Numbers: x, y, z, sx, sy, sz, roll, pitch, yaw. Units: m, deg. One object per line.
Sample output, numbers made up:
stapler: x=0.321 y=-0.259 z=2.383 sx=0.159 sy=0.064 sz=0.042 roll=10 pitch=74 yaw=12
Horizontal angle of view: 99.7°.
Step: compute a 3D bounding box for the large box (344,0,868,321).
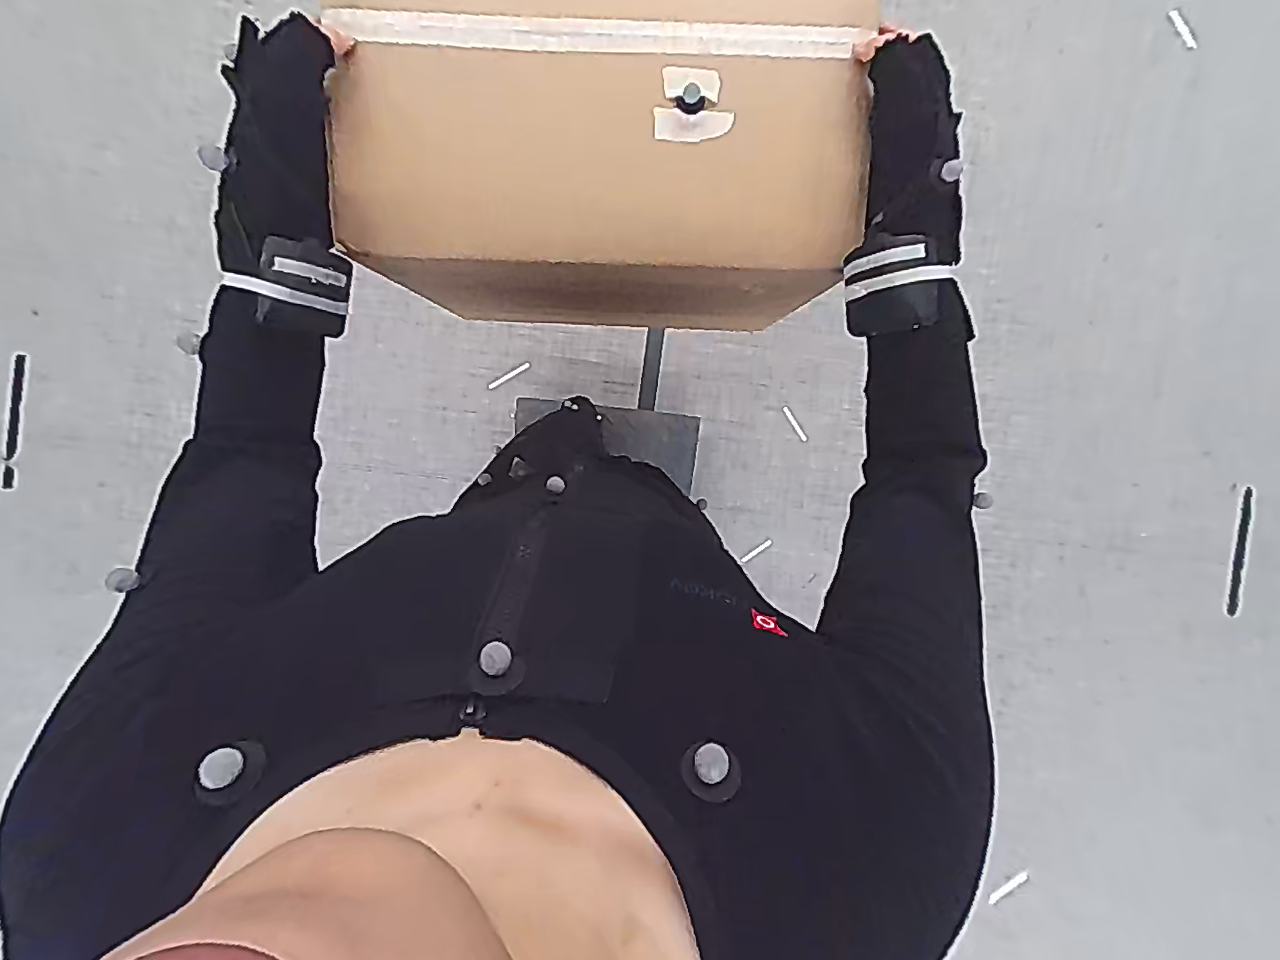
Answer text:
large box: x=-0.030 y=-0.350 z=0.559 sx=0.408 sy=0.320 sz=0.320 roll=1 pitch=98 yaw=-1
